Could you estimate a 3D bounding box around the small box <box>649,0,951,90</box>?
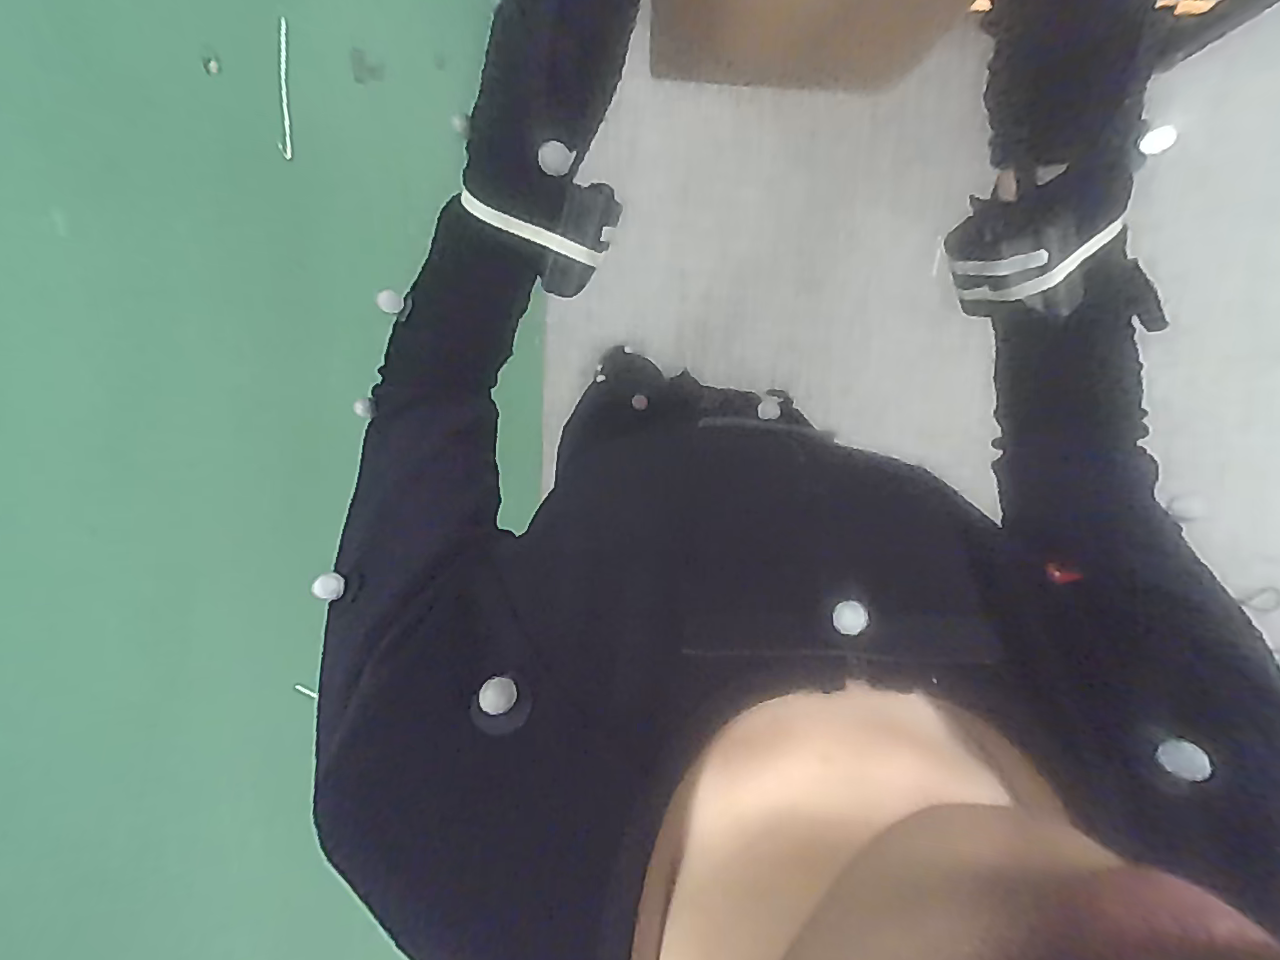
[{"bbox_3d":[0.096,-0.344,0.288,0.179,0.176,0.168,3,100,-1],"label":"small box"}]
